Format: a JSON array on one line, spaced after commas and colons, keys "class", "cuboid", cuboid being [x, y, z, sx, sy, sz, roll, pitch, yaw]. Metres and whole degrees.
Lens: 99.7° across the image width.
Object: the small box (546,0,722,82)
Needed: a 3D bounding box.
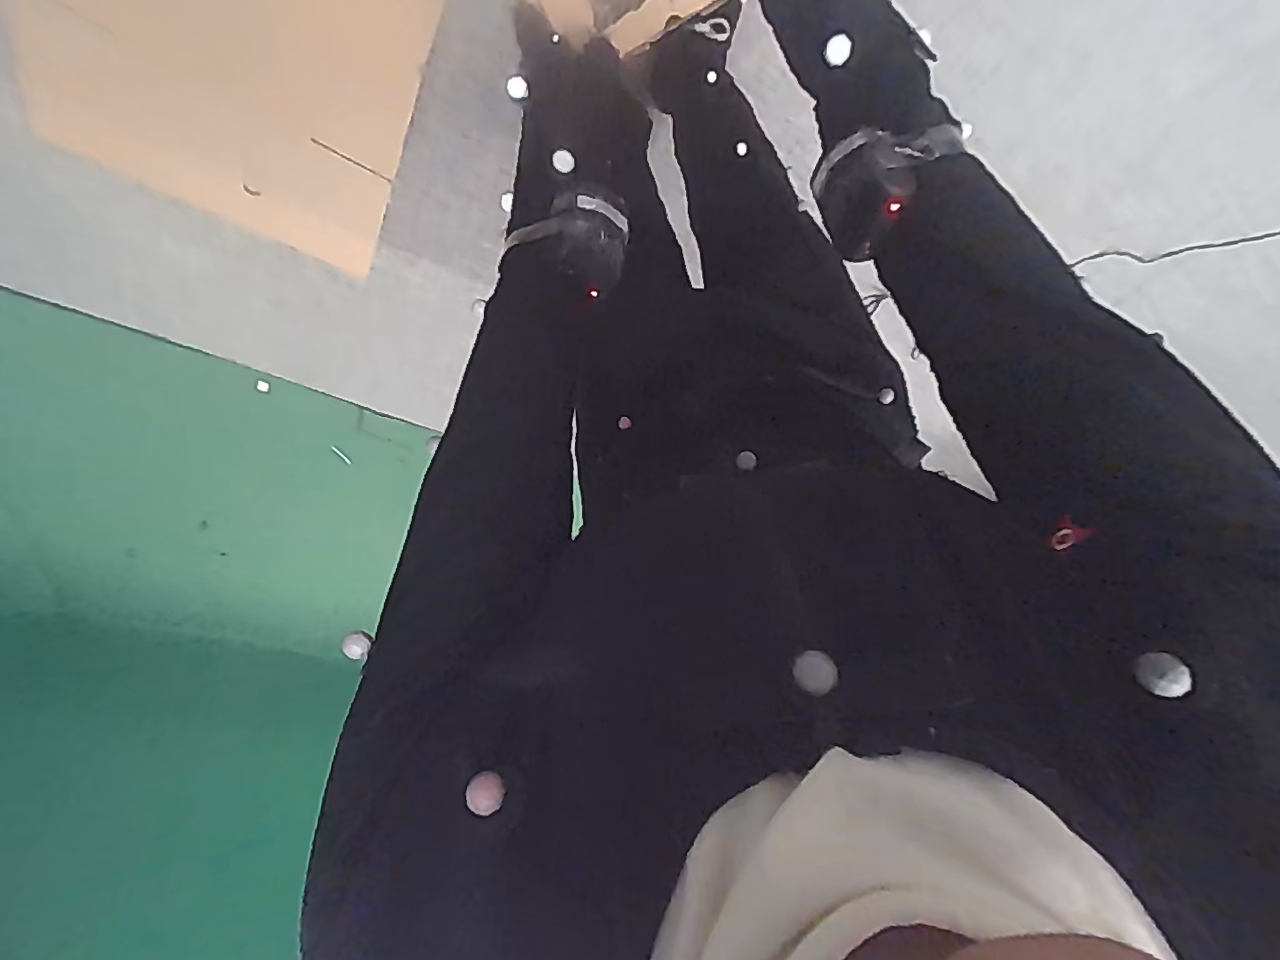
[{"class": "small box", "cuboid": [-0.008, -0.457, 0.395, 0.168, 0.176, 0.179, -16, 144, 26]}]
